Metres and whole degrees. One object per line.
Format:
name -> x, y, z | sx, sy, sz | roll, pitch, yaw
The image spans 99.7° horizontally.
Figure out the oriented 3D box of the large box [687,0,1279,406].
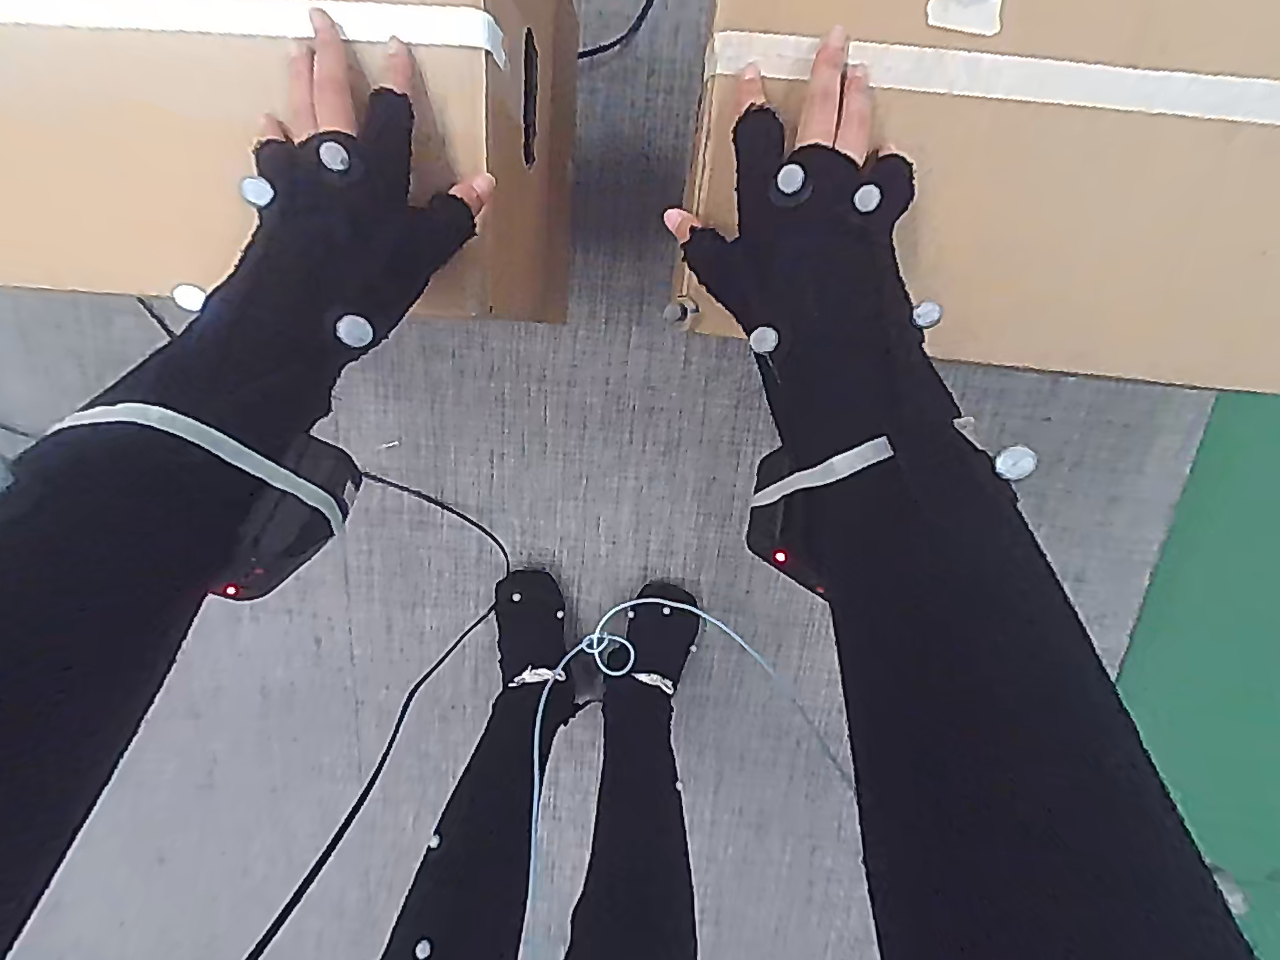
large box -> 0.263, -0.259, 0.487 | 0.408, 0.320, 0.320 | 7, 105, 1
